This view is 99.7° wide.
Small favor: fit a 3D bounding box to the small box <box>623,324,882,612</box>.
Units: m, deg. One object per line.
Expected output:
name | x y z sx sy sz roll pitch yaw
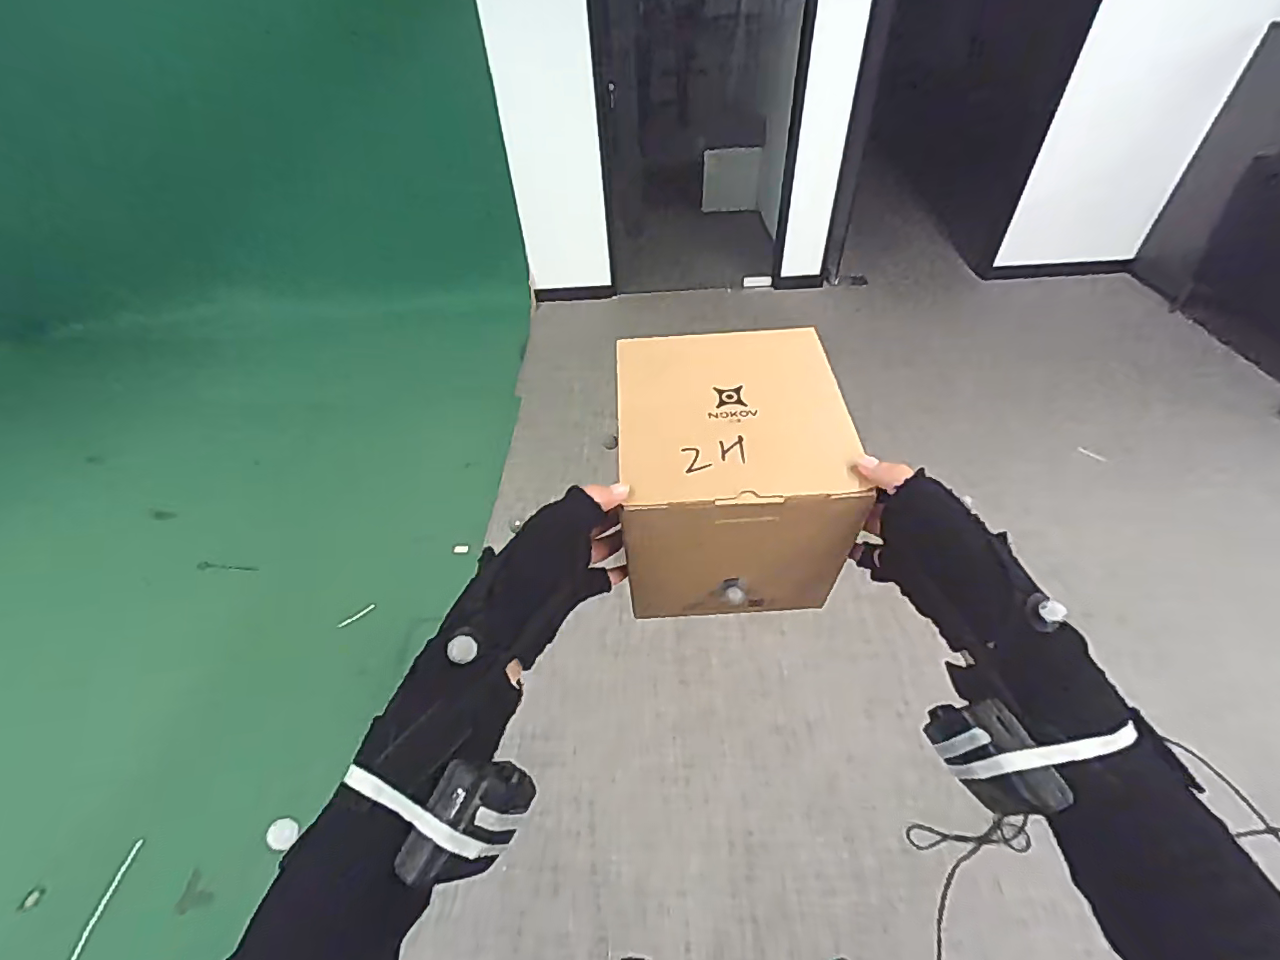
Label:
small box | 0.072 -0.007 0.454 0.168 0.176 0.179 -3 52 1
